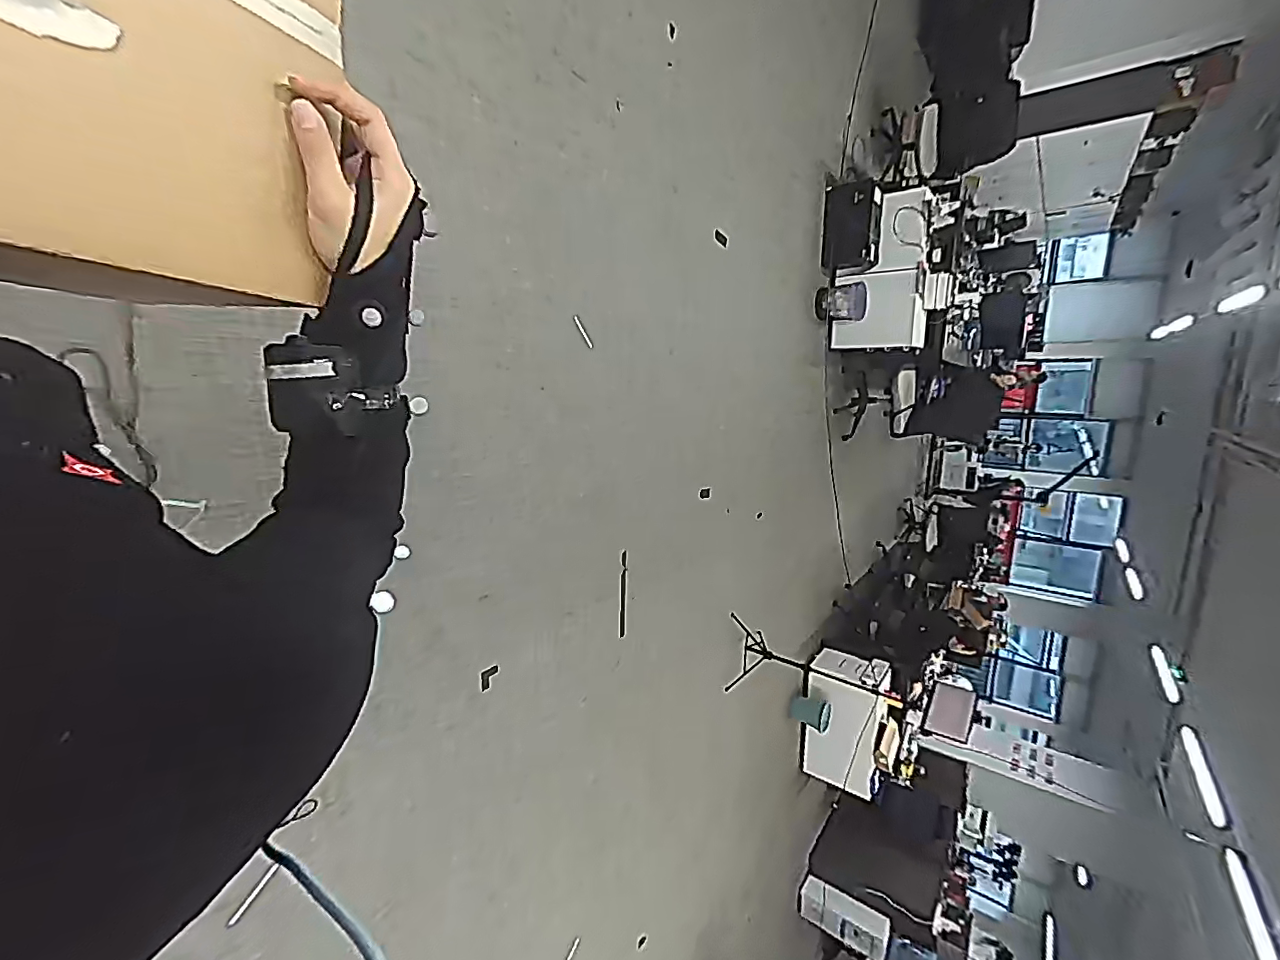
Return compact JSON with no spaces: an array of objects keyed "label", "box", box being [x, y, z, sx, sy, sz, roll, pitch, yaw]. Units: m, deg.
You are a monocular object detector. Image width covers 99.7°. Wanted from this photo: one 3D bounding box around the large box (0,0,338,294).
[{"label":"large box","box":[-0.425,-0.284,0.248,0.408,0.320,0.320,-8,108,-60]}]
